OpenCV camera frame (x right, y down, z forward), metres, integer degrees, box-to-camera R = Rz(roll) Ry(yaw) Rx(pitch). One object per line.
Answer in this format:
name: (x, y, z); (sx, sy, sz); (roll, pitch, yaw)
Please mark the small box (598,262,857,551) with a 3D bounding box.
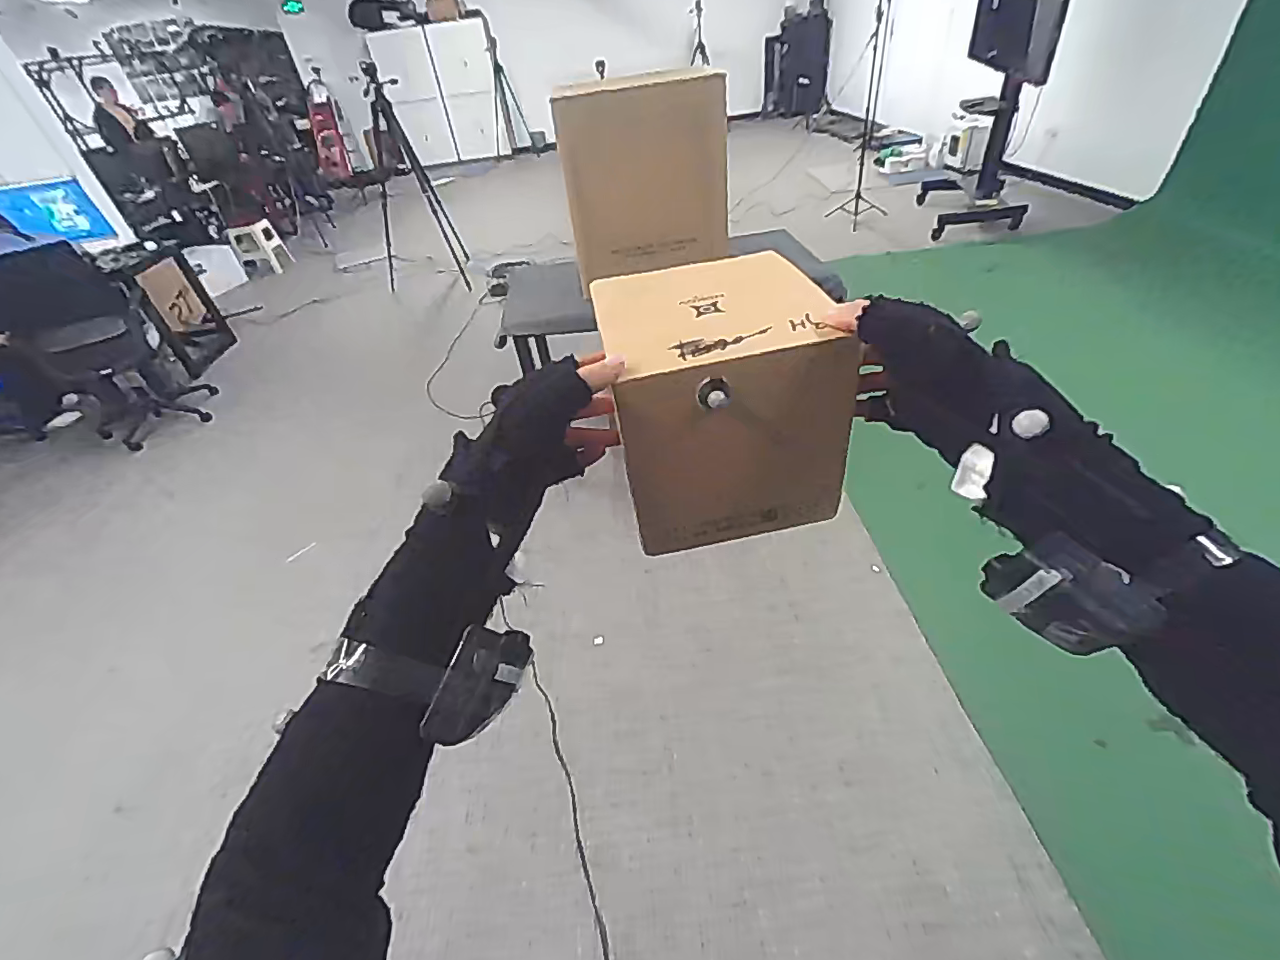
small box: (0.063, -0.067, 0.466); (0.168, 0.176, 0.179); (-12, 39, -1)
